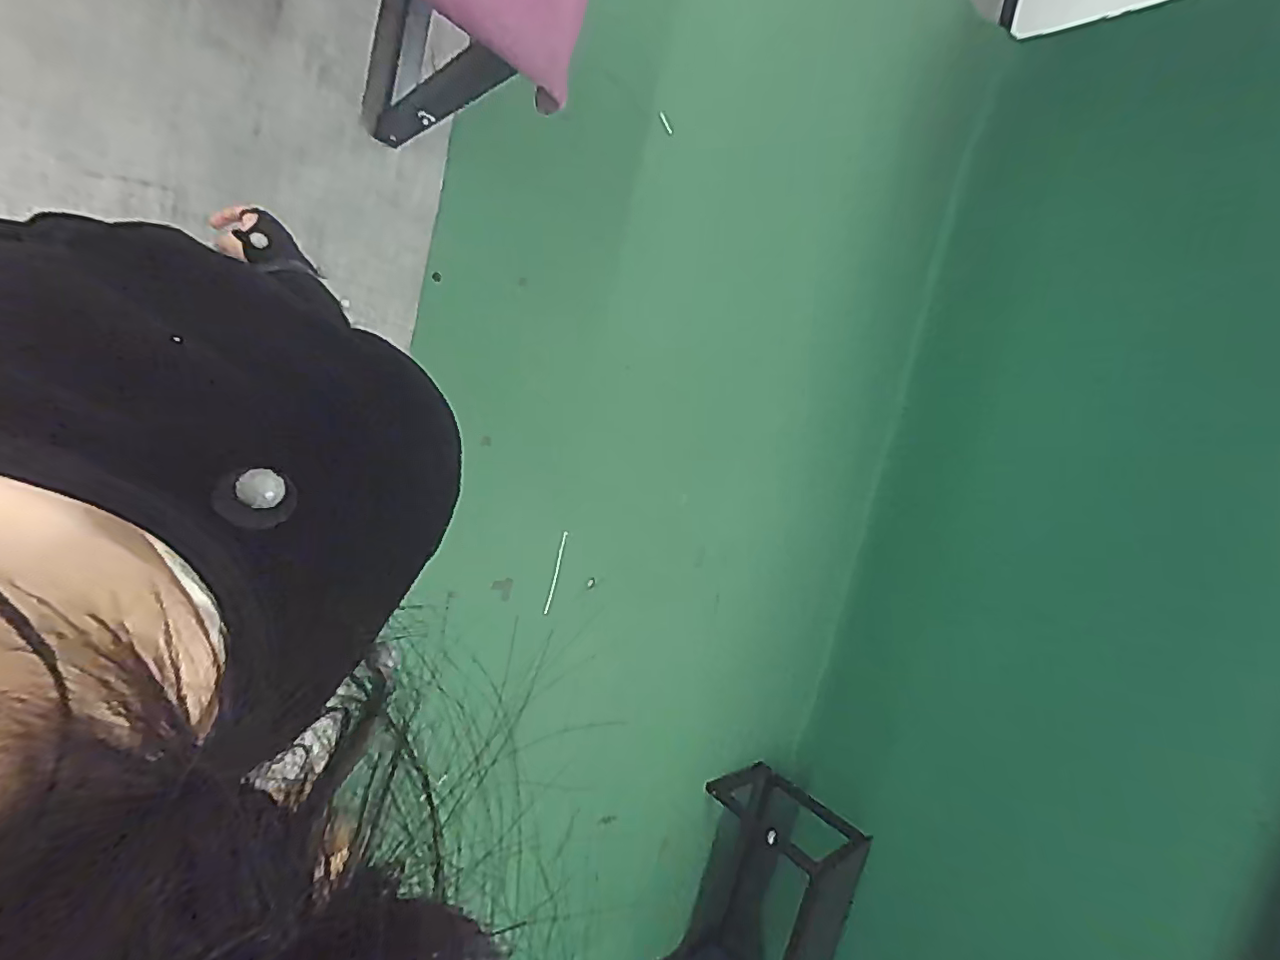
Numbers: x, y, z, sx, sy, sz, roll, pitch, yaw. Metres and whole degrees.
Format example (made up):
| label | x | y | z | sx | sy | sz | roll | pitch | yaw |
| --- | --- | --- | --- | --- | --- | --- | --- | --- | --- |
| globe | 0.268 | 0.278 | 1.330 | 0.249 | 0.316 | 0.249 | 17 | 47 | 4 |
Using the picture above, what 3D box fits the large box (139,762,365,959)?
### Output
| label | x | y | z | sx | sy | sz | roll | pitch | yaw |
| --- | --- | --- | --- | --- | --- | --- | --- | --- | --- |
| large box | -0.976 | 1.022 | 1.379 | 0.408 | 0.320 | 0.320 | -11 | 112 | -42 |
